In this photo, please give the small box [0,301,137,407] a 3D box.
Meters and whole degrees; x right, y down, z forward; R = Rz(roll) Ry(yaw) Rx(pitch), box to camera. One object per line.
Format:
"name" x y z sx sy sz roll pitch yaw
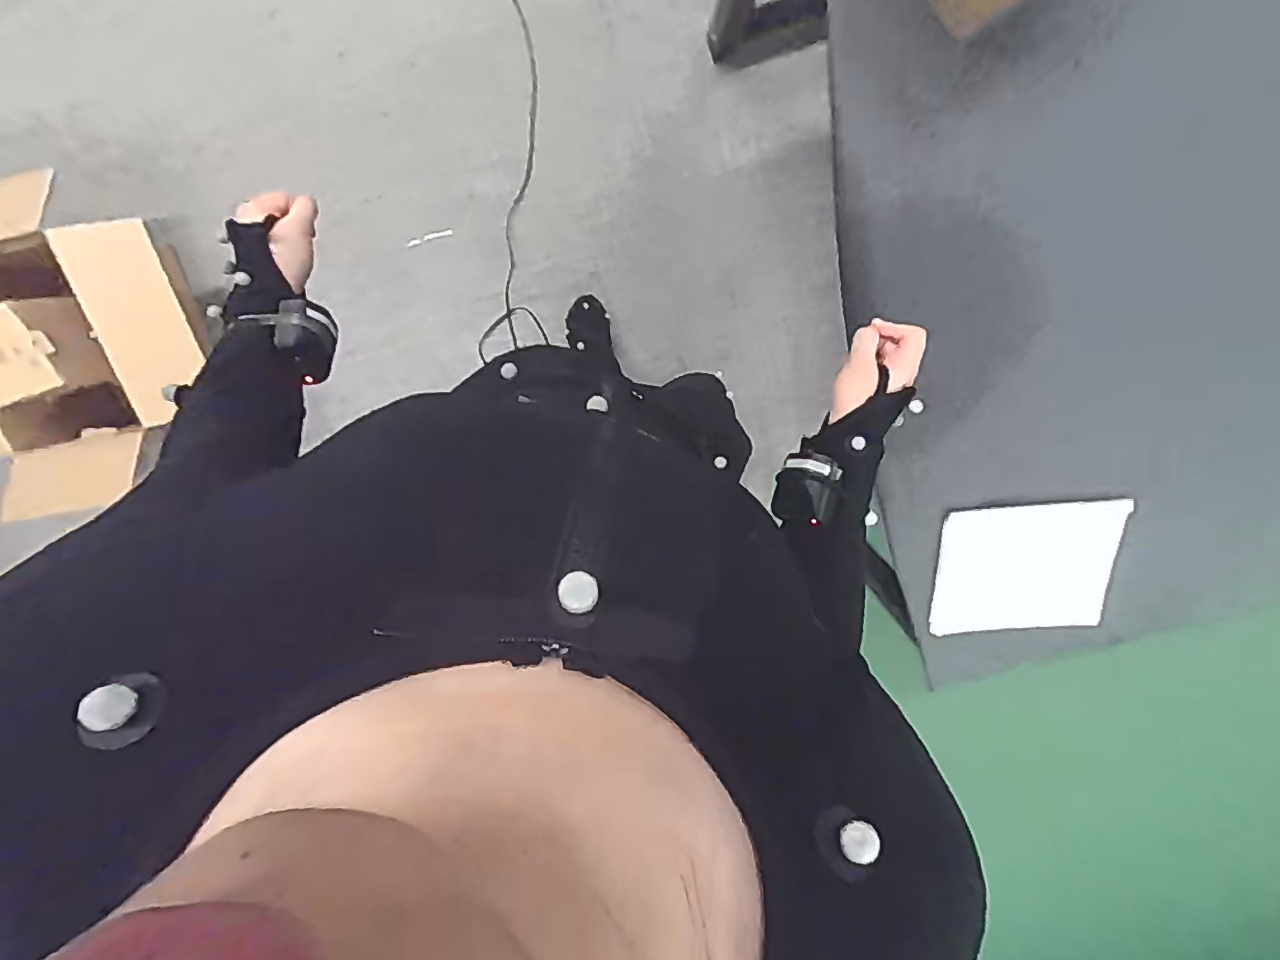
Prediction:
"small box" -1.241 -0.270 1.138 0.179 0.176 0.168 -16 111 5
